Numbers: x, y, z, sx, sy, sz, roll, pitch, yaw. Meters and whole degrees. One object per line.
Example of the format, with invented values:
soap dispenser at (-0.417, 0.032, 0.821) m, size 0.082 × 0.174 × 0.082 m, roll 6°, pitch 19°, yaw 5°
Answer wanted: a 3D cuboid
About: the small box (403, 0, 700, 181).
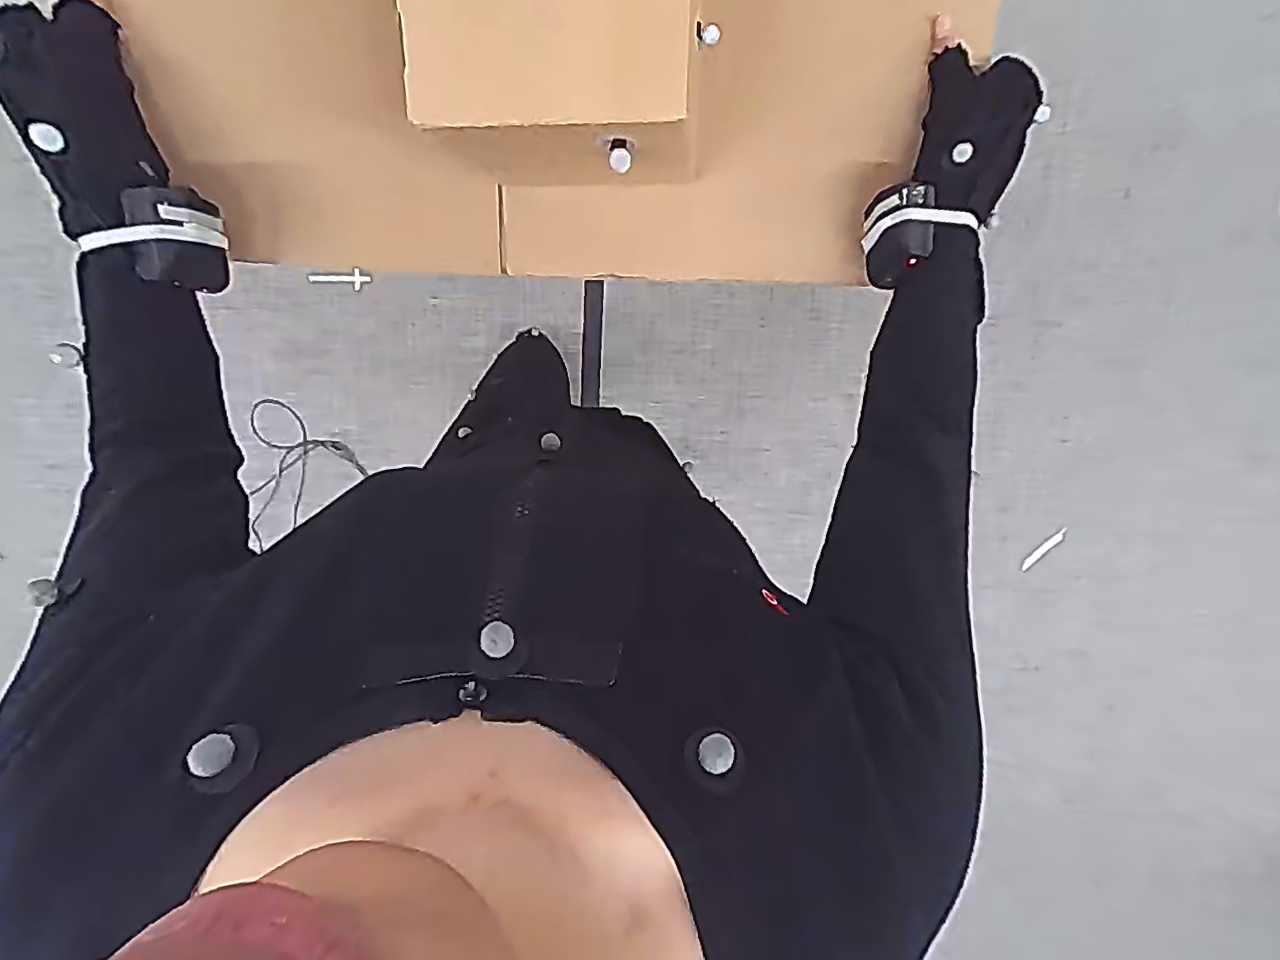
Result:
small box at (-0.047, -0.325, 0.388) m, size 0.179 × 0.176 × 0.168 m, roll 4°, pitch 107°, yaw 7°
